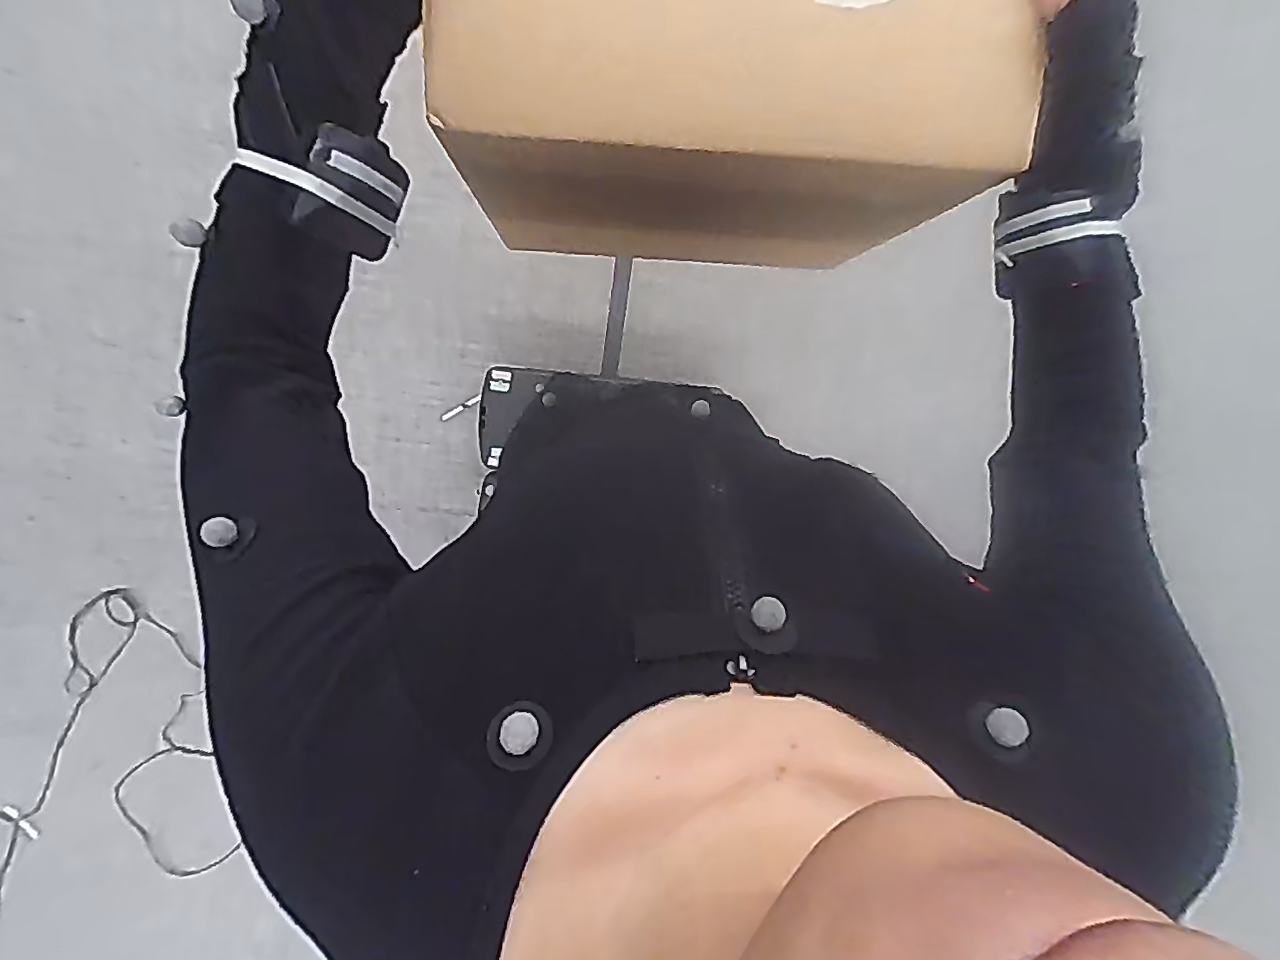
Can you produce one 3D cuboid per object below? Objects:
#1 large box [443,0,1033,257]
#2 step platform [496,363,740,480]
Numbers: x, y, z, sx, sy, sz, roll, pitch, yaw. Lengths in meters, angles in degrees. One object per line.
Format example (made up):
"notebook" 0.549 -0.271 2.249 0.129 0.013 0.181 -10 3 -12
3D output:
"large box" 0.058 -0.404 0.490 0.408 0.320 0.320 1 100 -6
"step platform" -0.062 -0.164 1.550 0.684 0.204 0.286 4 98 -6
